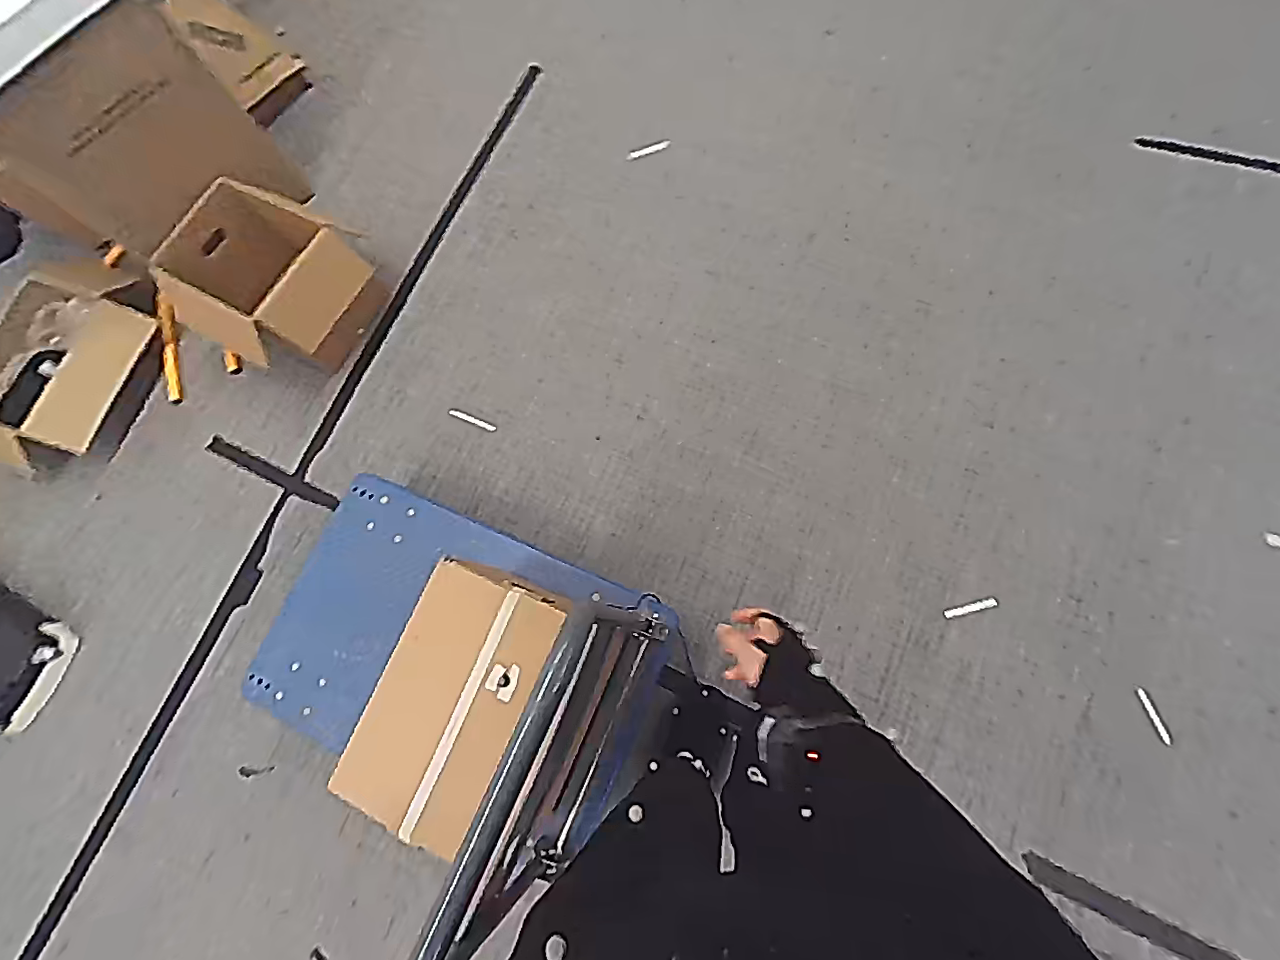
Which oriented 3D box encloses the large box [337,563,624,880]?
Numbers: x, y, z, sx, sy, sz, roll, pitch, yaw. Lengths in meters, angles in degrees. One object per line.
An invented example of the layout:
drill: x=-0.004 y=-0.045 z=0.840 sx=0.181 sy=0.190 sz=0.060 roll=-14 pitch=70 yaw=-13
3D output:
large box: x=-0.263 y=0.416 z=1.023 sx=0.320 sy=0.320 sz=0.408 roll=21 pitch=78 yaw=12
